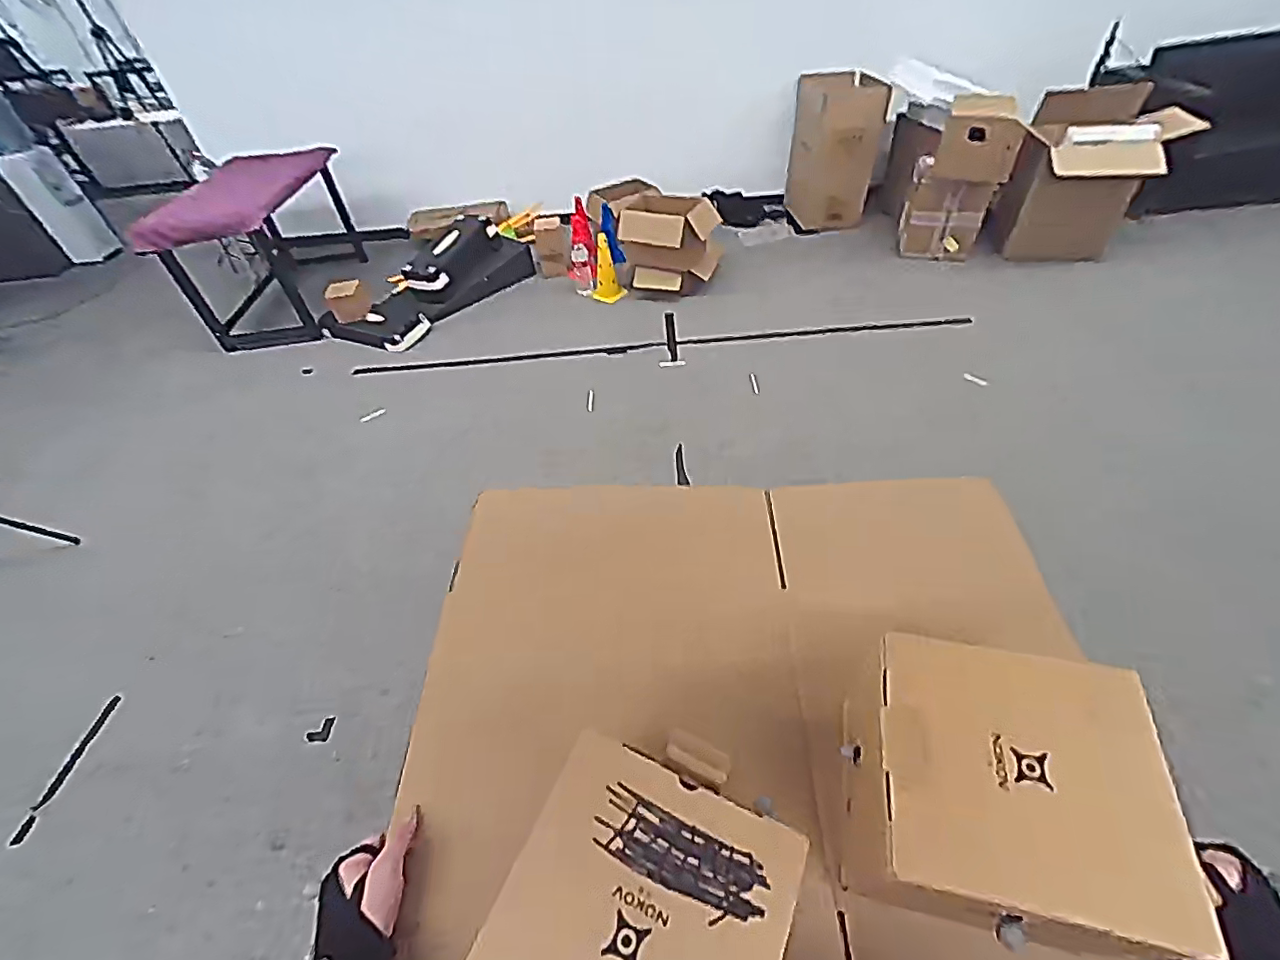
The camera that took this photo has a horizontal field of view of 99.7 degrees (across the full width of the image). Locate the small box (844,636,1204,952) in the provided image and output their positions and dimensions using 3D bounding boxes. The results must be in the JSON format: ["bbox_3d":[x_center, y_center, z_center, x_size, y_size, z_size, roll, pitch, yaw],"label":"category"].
[{"bbox_3d":[0.273,0.250,0.441,0.179,0.176,0.168,5,52,14],"label":"small box"}]
